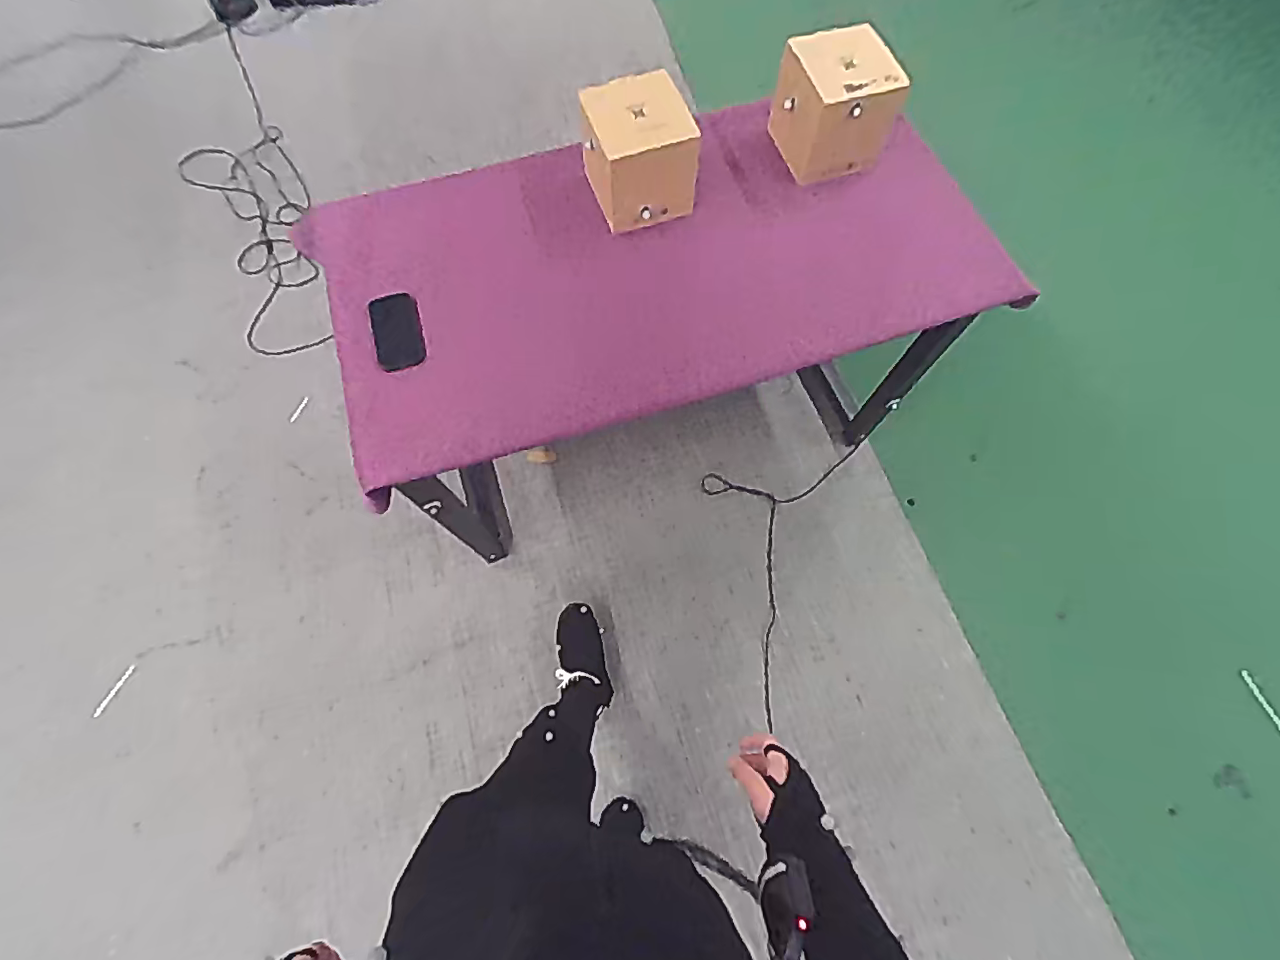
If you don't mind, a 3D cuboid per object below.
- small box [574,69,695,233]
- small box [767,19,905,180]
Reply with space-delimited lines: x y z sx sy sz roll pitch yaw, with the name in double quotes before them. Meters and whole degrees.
"small box" -0.012 -0.594 0.987 0.168 0.176 0.179 -19 71 -5
"small box" 0.356 -0.714 1.024 0.168 0.176 0.179 -17 70 -4
